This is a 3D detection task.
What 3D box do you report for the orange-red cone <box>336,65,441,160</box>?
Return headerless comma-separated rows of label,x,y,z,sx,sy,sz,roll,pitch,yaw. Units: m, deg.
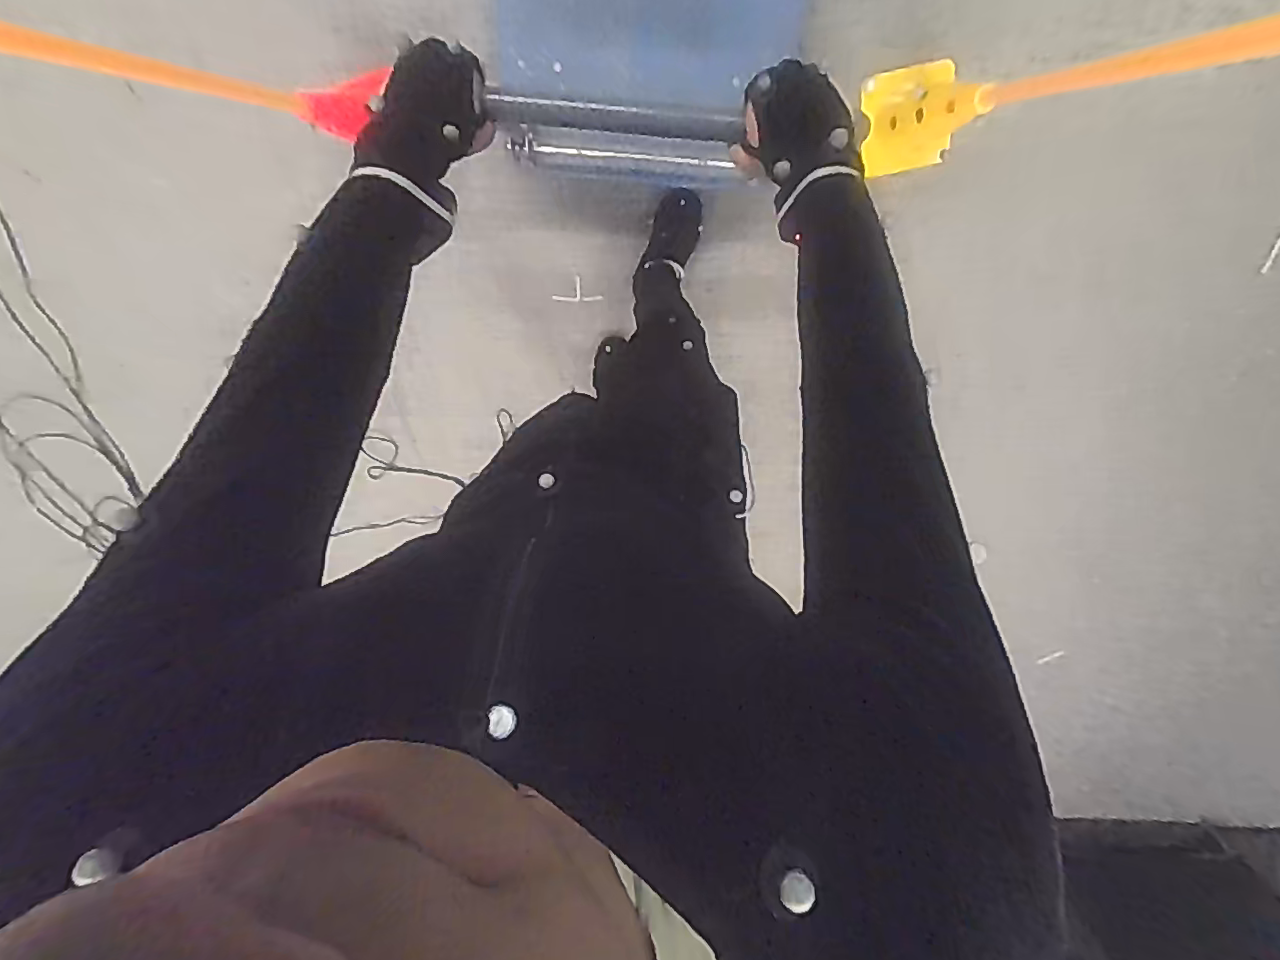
orange-red cone,-0.588,-0.741,1.102,0.199,0.360,0.198,-11,117,10
